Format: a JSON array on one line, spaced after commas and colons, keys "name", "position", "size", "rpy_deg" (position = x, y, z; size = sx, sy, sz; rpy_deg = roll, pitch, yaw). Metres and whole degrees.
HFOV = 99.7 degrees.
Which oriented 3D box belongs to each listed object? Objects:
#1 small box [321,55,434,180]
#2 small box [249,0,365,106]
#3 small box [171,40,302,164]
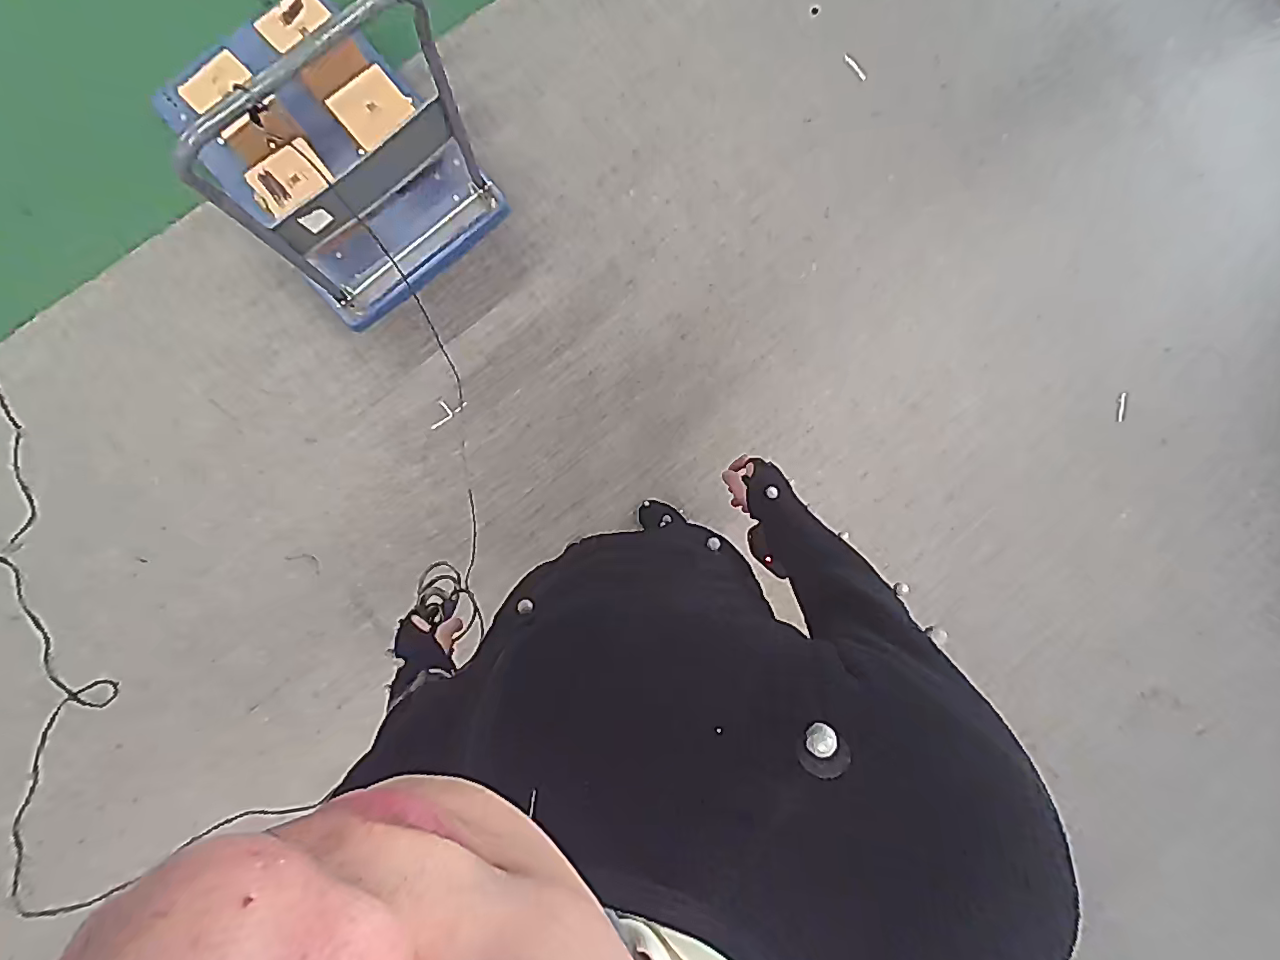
[{"name": "small box", "position": [-0.679, -0.941, 1.421], "size": [0.168, 0.176, 0.179], "rpy_deg": [-40, 91, -4]}, {"name": "small box", "position": [-0.857, -1.144, 1.422], "size": [0.179, 0.176, 0.168], "rpy_deg": [45, 87, -1]}, {"name": "small box", "position": [-1.033, -0.964, 1.403], "size": [0.179, 0.176, 0.168], "rpy_deg": [45, 85, 0]}]
